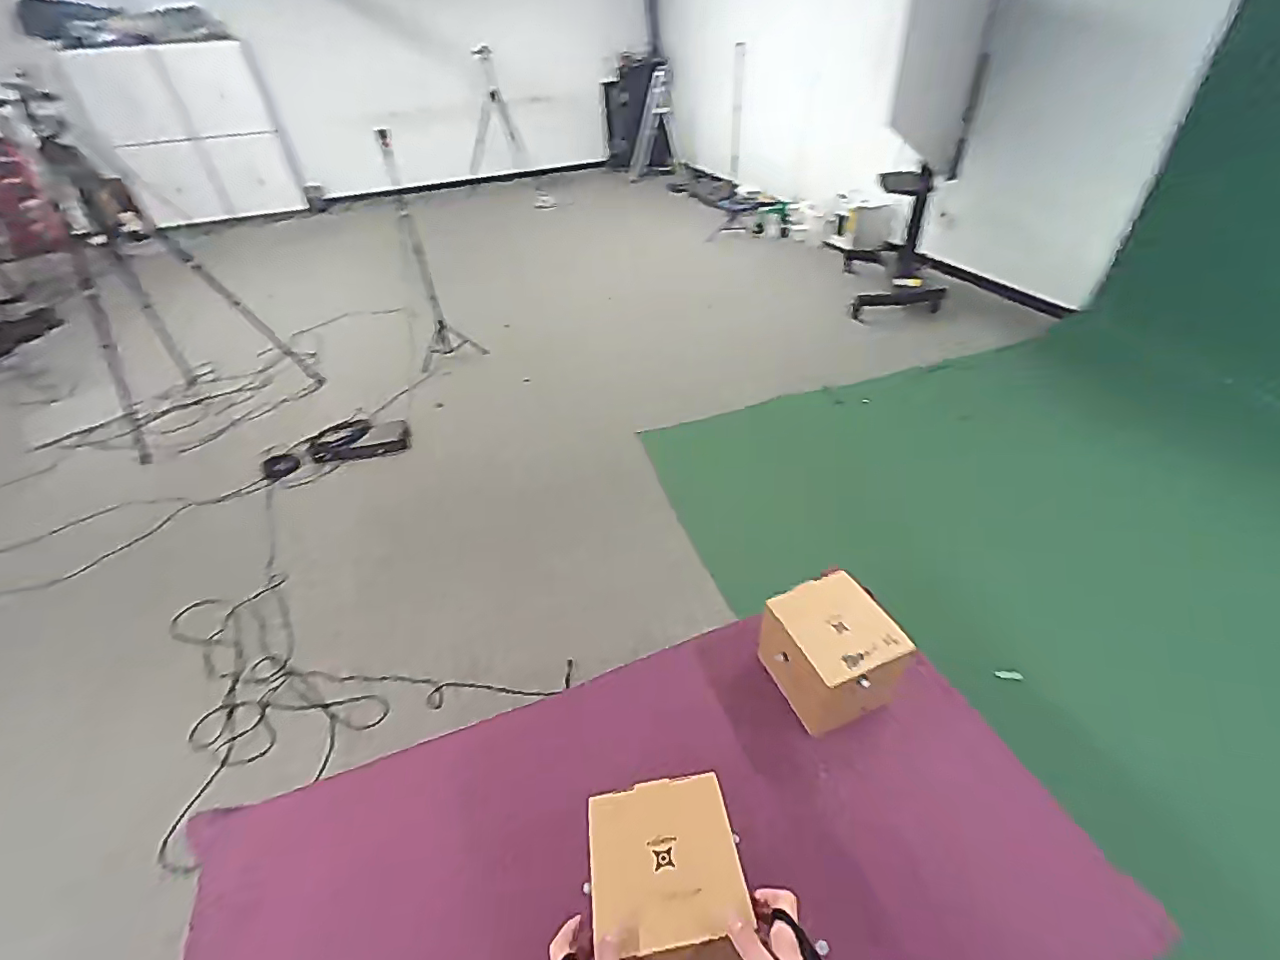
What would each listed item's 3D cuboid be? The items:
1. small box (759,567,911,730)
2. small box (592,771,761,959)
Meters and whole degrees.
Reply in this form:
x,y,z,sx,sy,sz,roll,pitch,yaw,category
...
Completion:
x,y,z,sx,sy,sz,roll,pitch,yaw,category
0.320,0.287,0.929,0.168,0.176,0.179,-18,41,-15,small box
0.037,0.484,0.631,0.168,0.176,0.179,-9,26,-2,small box
